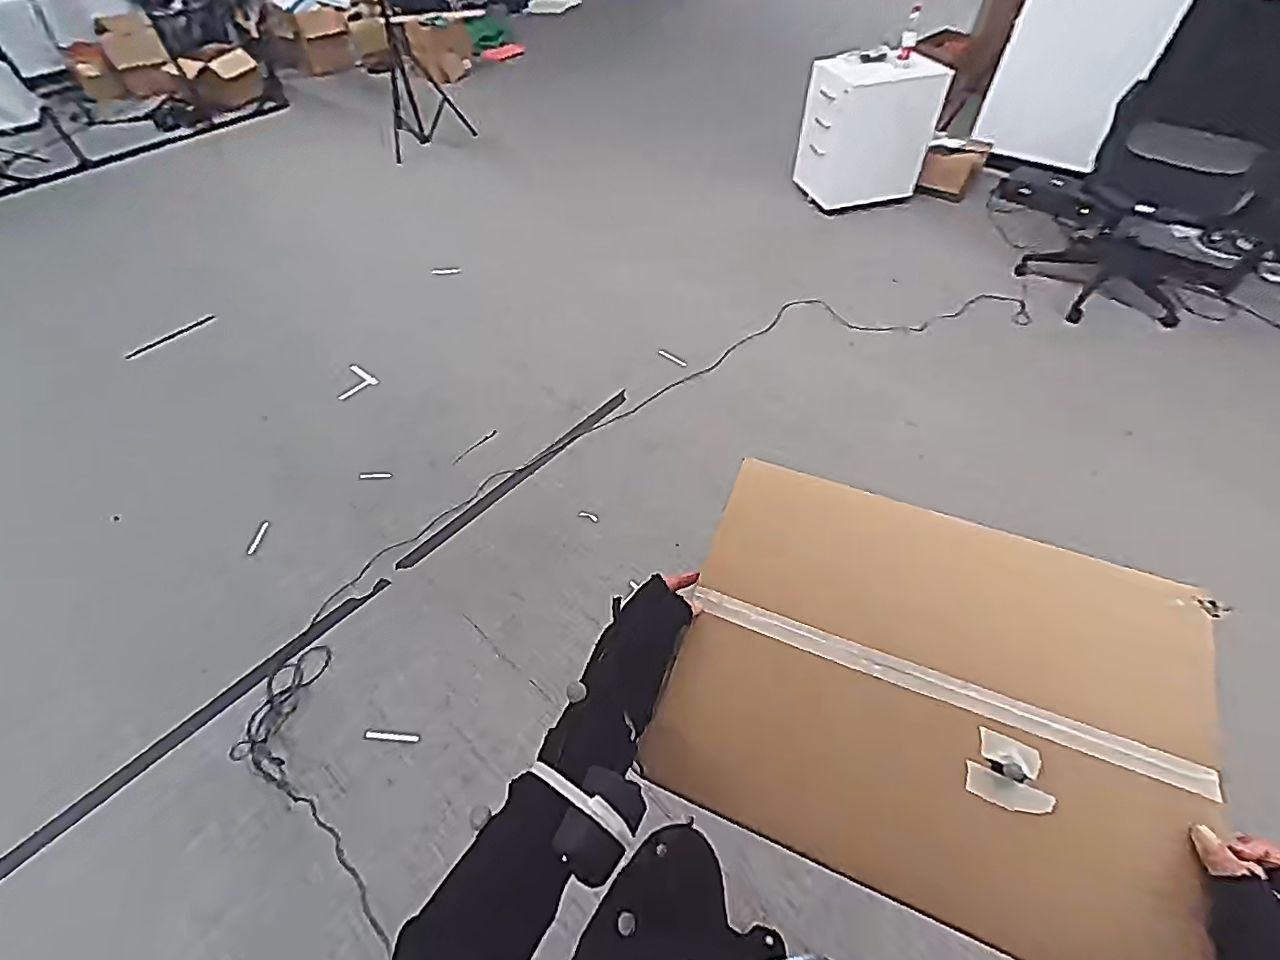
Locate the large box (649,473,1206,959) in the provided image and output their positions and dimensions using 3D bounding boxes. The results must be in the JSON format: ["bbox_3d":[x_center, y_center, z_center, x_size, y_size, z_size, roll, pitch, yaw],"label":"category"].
[{"bbox_3d":[0.257,0.241,0.592,0.408,0.320,0.320,18,67,15],"label":"large box"}]
